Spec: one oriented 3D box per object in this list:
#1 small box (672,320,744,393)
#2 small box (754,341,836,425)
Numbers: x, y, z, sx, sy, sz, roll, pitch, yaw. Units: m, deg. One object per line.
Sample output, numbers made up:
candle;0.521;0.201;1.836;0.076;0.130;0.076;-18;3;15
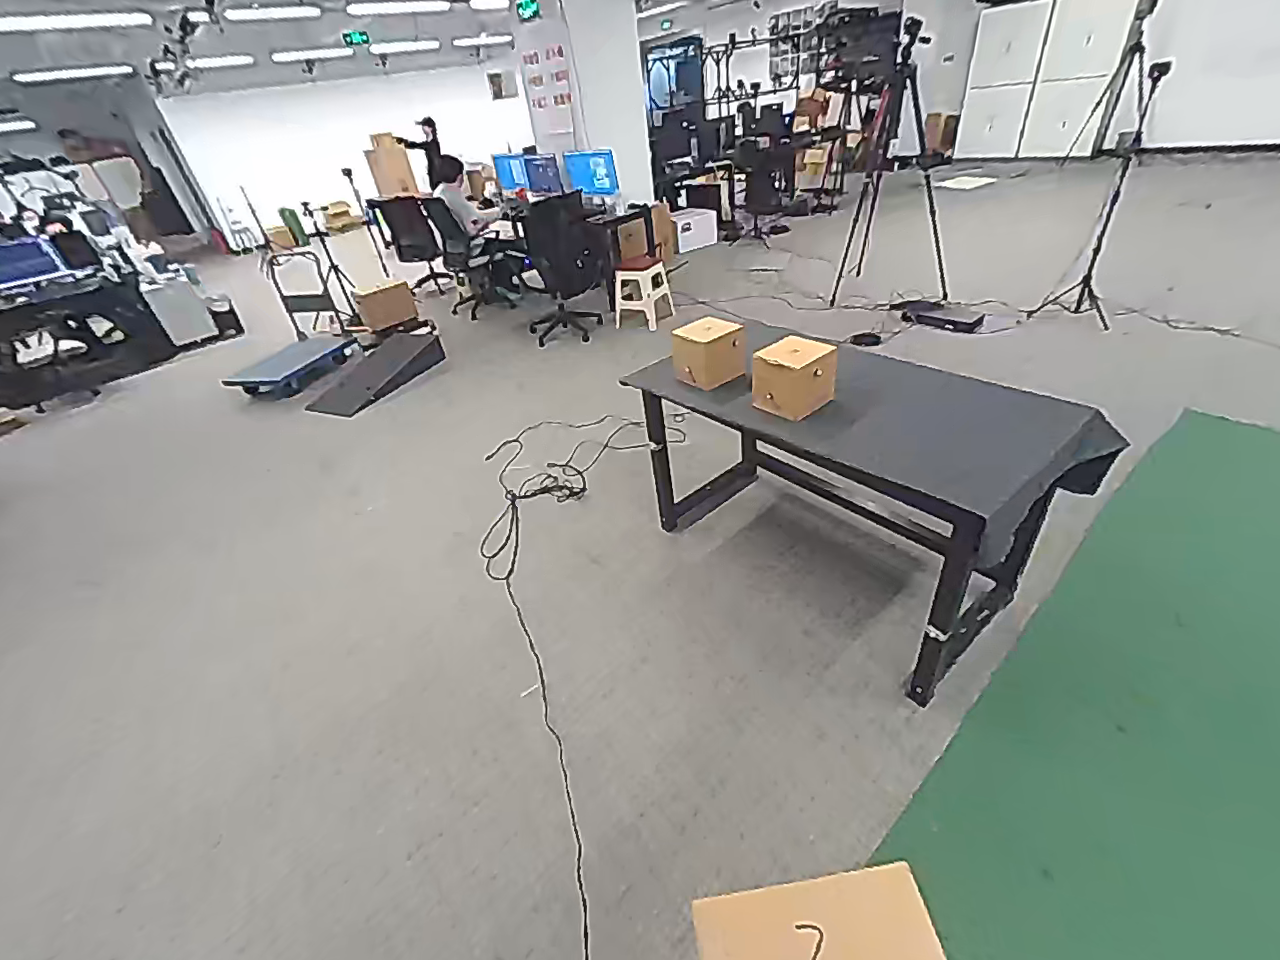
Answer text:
small box;0.226;-0.413;1.802;0.179;0.176;0.168;-28;40;-27
small box;0.447;-0.287;1.589;0.179;0.176;0.168;-29;41;-27
